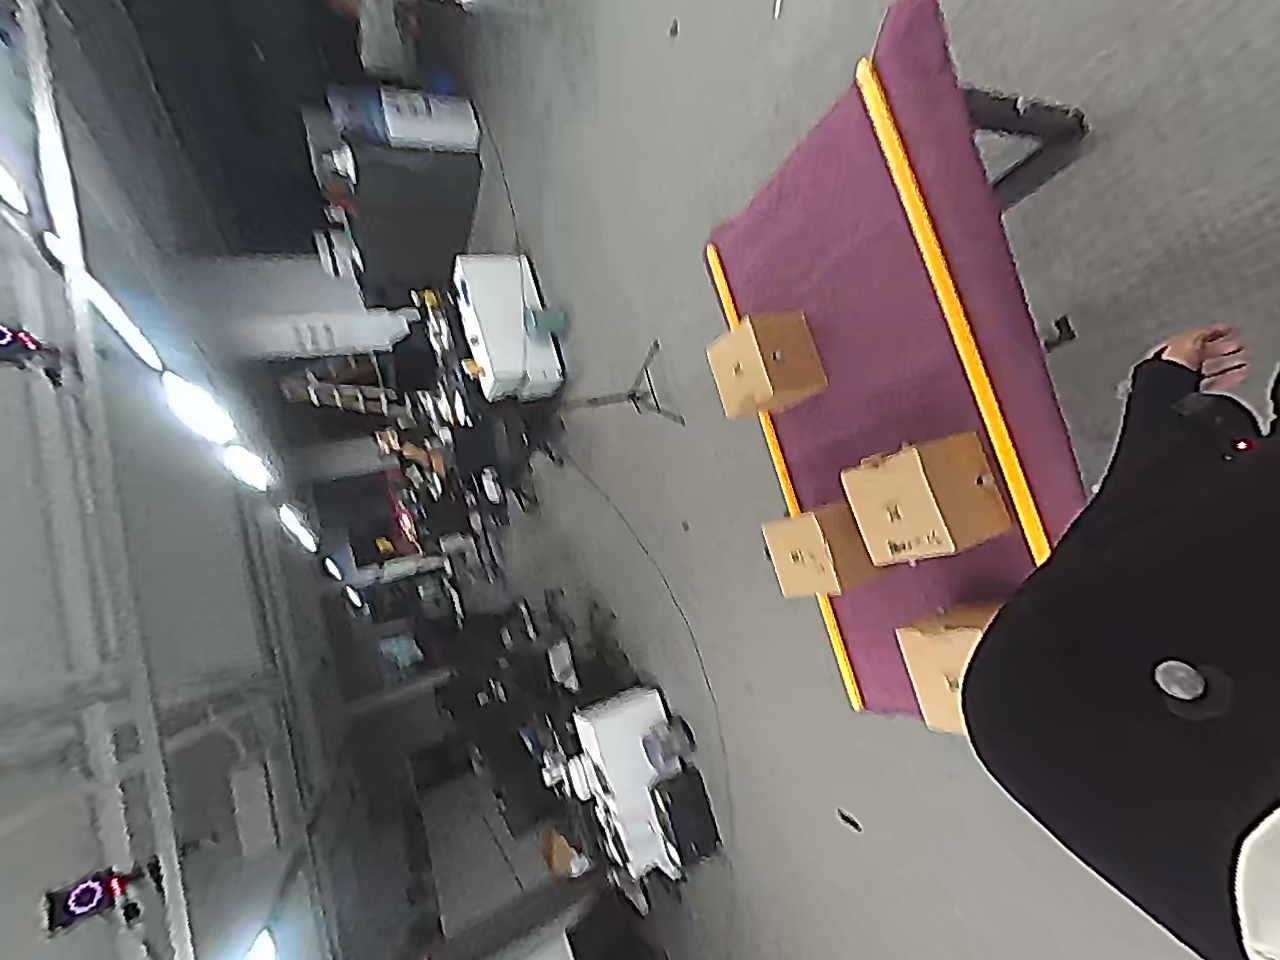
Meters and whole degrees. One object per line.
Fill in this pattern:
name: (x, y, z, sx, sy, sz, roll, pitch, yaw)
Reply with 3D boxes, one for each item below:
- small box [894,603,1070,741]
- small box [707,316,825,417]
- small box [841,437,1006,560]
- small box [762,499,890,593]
small box: (0.579, 0.312, 0.922, 0.168, 0.176, 0.179, -32, 71, 62)
small box: (0.286, -0.260, 1.234, 0.168, 0.176, 0.179, -28, 77, 61)
small box: (0.498, 0.030, 0.956, 0.168, 0.176, 0.179, -32, 73, 62)
small box: (0.404, 0.143, 1.185, 0.179, 0.176, 0.168, -28, 77, 60)
